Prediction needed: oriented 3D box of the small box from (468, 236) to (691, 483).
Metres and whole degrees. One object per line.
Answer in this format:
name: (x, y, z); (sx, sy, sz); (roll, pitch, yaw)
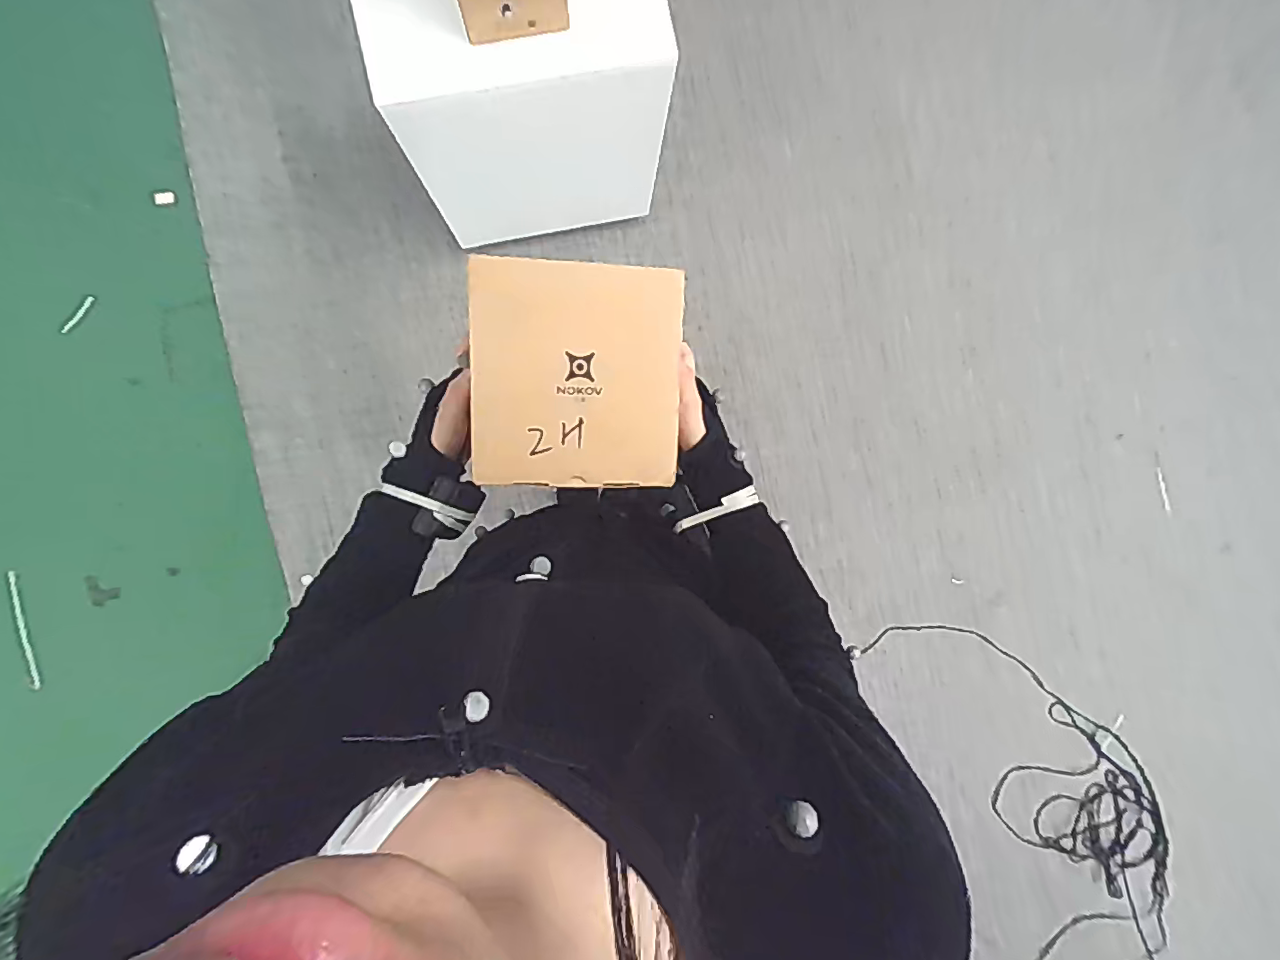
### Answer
small box: (-0.058, -0.097, 0.486); (0.168, 0.176, 0.179); (1, 99, -9)

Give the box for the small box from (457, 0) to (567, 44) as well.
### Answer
small box: (-0.207, -0.801, 0.795); (0.168, 0.176, 0.179); (-13, 90, -4)
